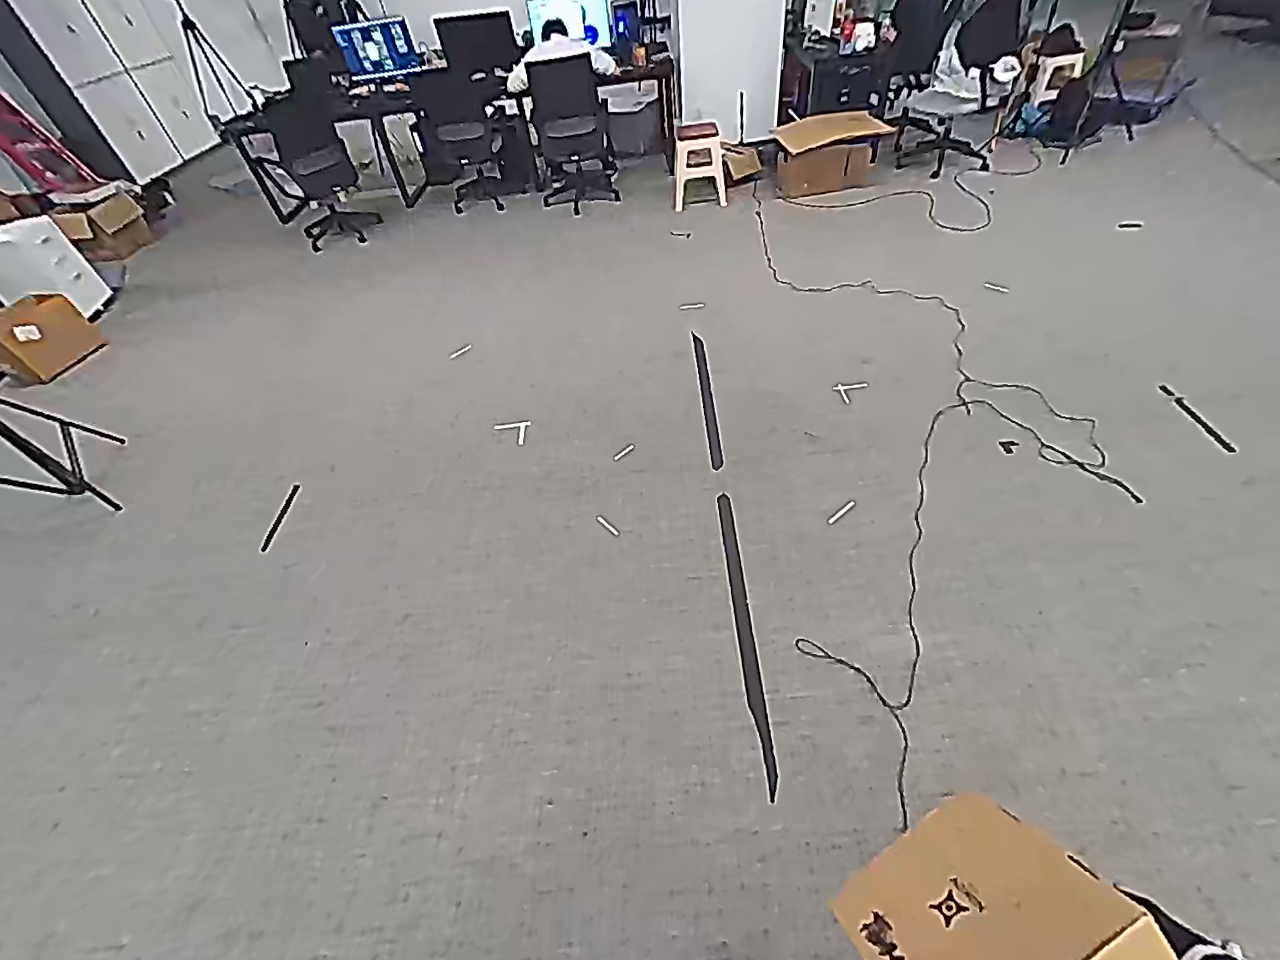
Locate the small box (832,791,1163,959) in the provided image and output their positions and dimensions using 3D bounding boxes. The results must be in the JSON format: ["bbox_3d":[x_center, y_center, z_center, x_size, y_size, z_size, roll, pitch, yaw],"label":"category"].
[{"bbox_3d":[0.300,0.410,0.438,0.179,0.168,0.176,-31,89,-7],"label":"small box"}]
